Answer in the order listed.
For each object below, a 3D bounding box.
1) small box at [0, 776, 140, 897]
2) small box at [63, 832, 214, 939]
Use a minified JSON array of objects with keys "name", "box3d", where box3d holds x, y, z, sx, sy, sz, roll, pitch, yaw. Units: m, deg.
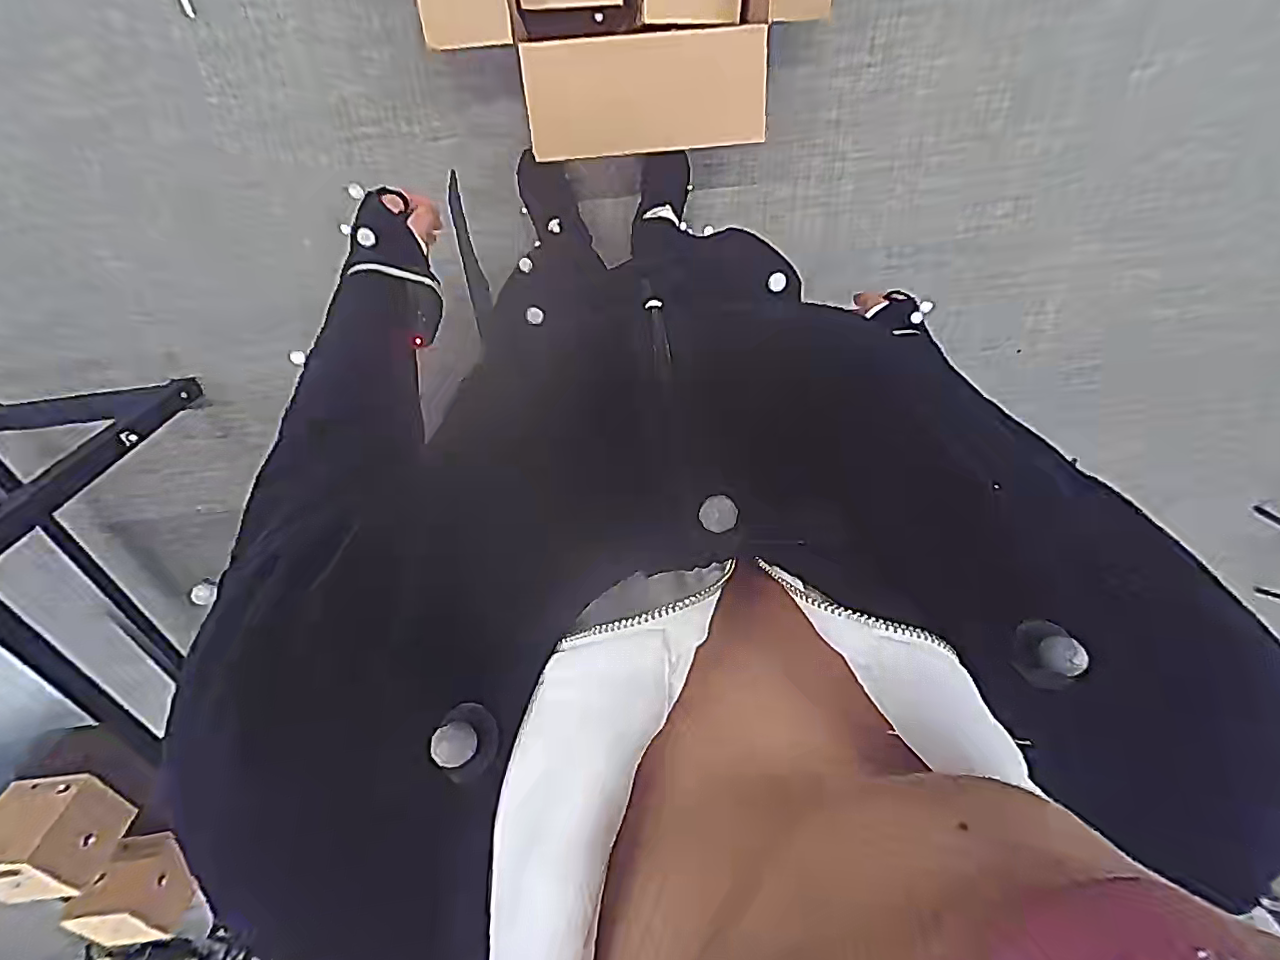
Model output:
[{"name":"small box","box3d":[-1.239,0.745,1.143,0.168,0.176,0.179,-5,127,-1]},{"name":"small box","box3d":[-1.206,0.981,1.318,0.168,0.176,0.179,-8,127,2]}]
